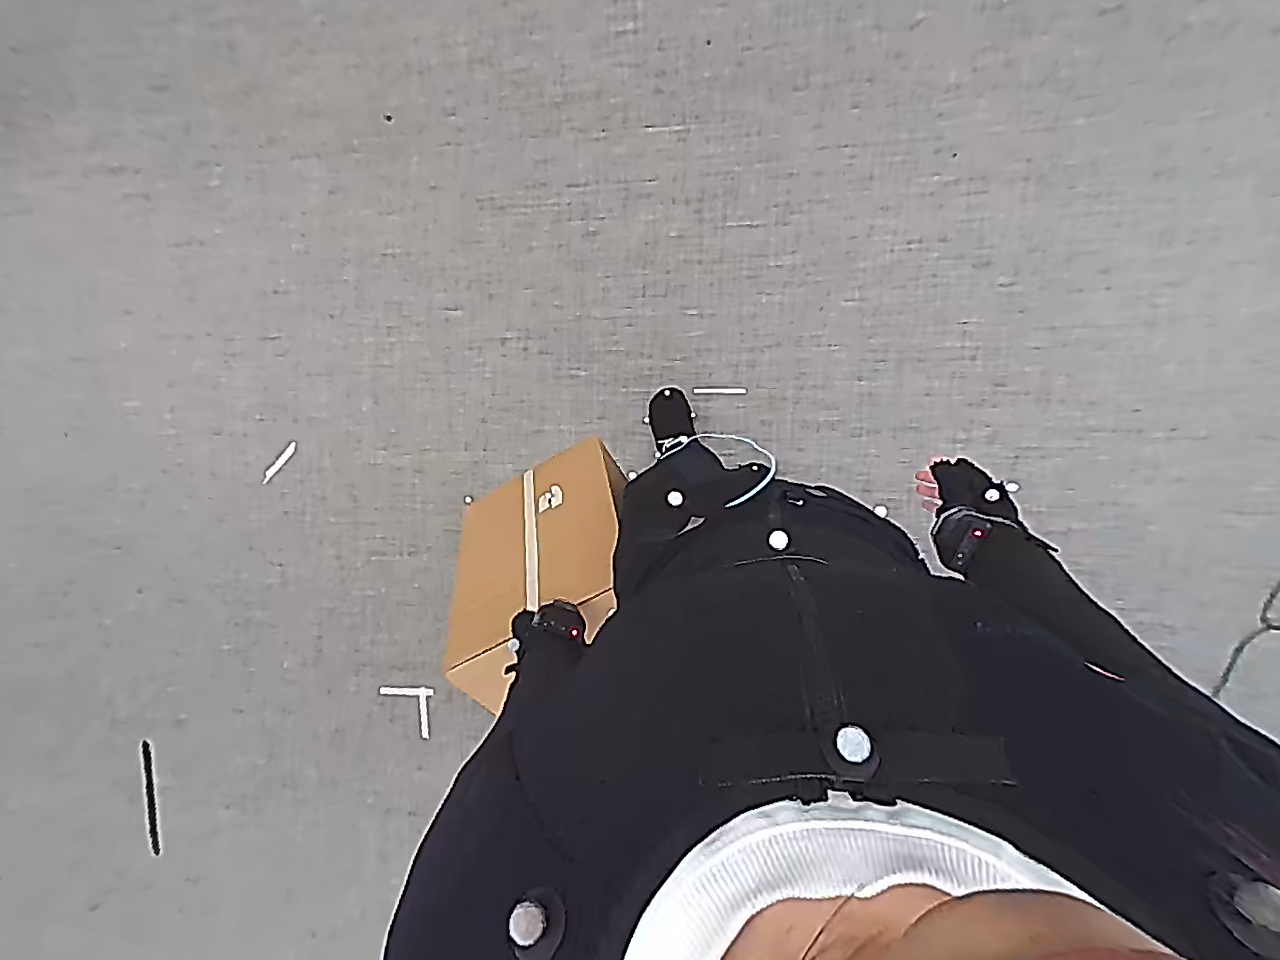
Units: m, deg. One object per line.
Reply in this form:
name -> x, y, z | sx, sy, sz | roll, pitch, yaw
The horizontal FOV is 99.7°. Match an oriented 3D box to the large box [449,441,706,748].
large box -> -0.116, 0.202, 1.018 | 0.320, 0.408, 0.320 | -27, 124, 7
